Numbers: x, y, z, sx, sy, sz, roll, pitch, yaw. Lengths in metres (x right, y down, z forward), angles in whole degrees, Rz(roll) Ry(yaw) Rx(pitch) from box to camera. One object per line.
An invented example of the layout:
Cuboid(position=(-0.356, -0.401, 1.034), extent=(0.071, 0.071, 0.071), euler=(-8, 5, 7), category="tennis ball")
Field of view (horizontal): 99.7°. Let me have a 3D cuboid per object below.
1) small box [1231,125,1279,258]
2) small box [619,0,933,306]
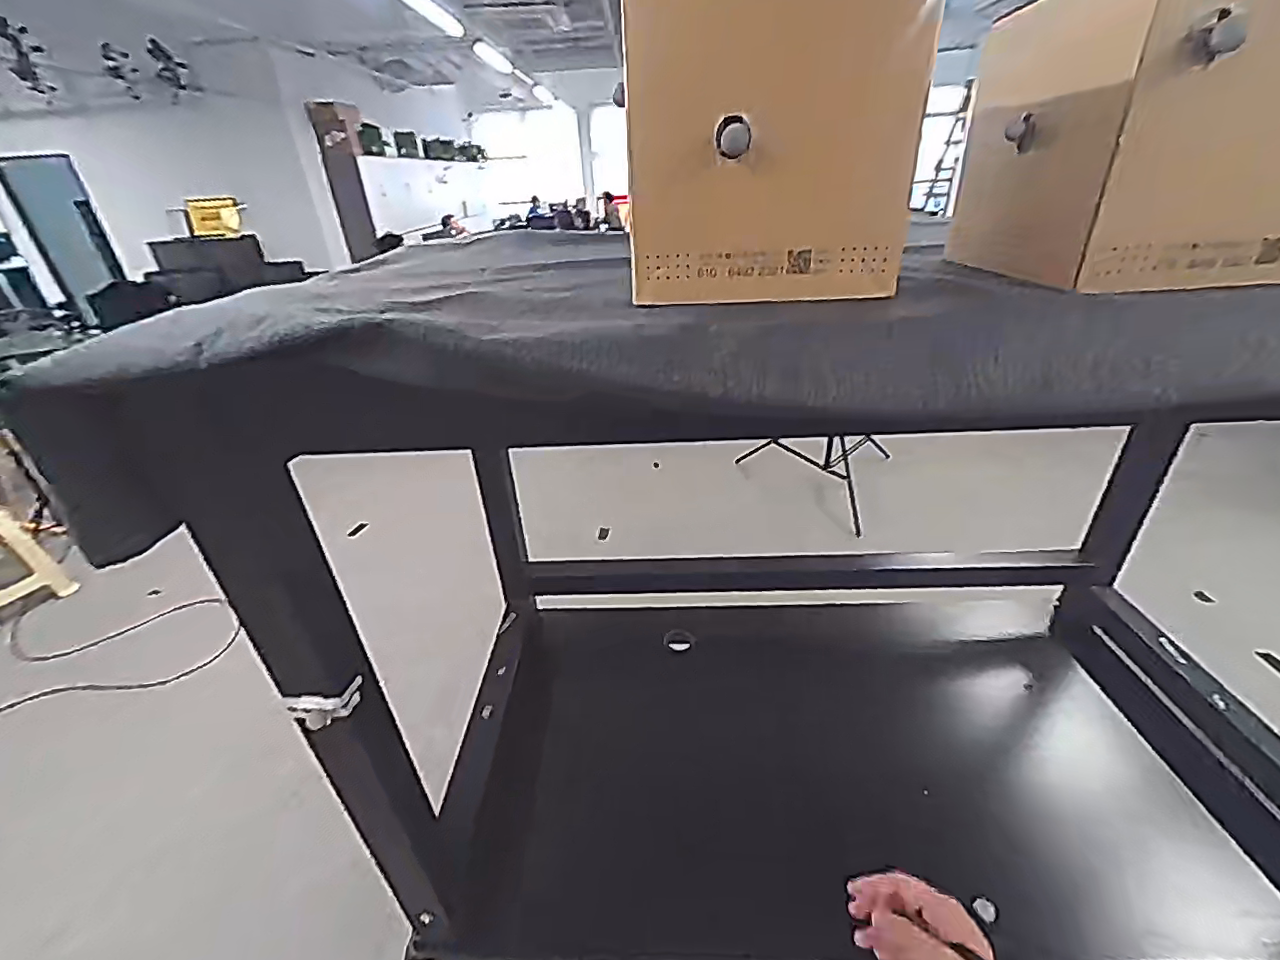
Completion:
Cuboid(position=(0.560, -0.228, 0.341), extent=(0.168, 0.176, 0.179), euler=(-2, 29, 4), category="small box")
Cuboid(position=(0.080, -0.220, 0.381), extent=(0.168, 0.176, 0.179), euler=(-1, 28, 4), category="small box")
